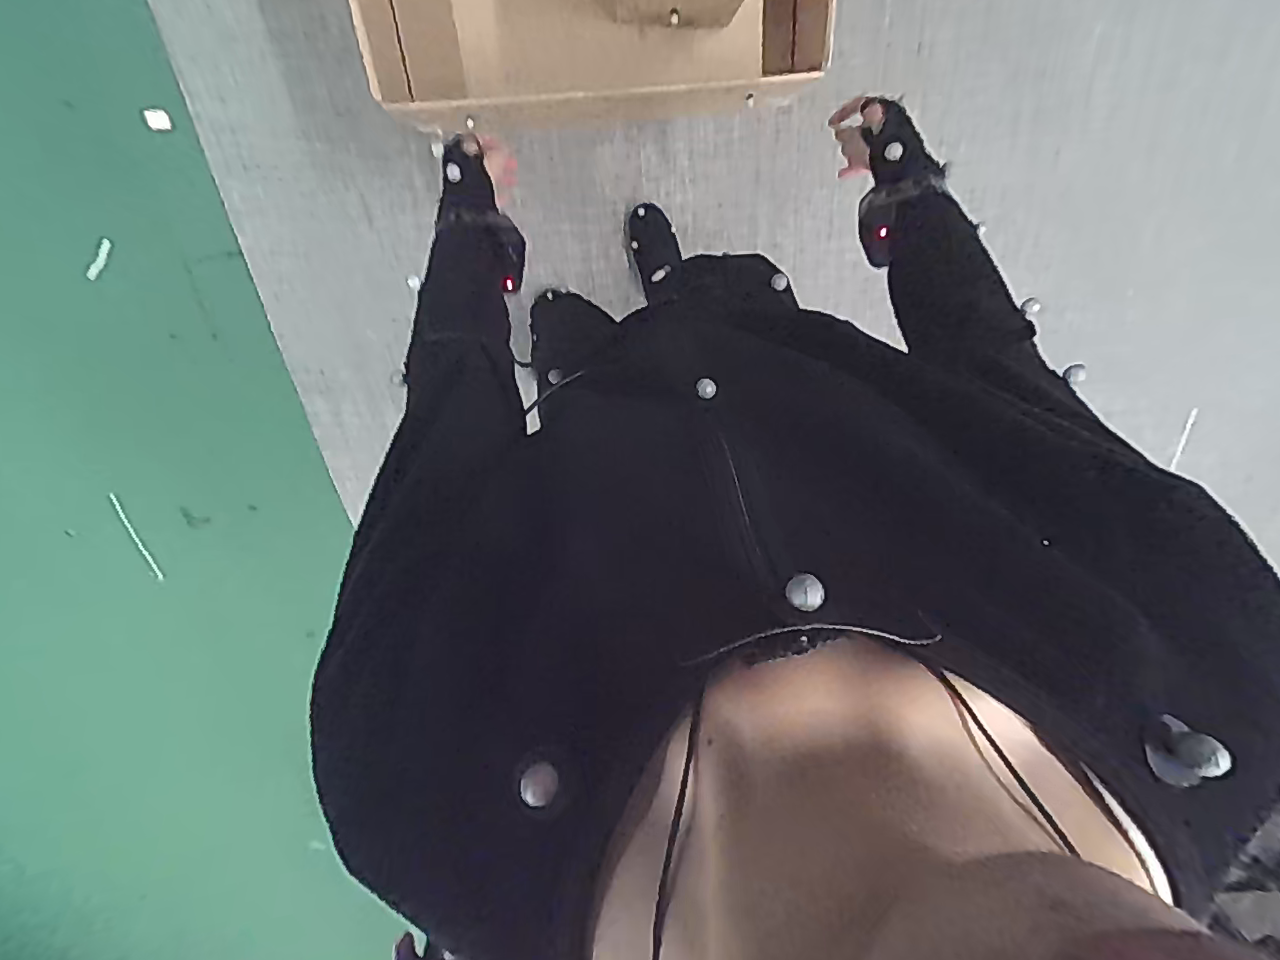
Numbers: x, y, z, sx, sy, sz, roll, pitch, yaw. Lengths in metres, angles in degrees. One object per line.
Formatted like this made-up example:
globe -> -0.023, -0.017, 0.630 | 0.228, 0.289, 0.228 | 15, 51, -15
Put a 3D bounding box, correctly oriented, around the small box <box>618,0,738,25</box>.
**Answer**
small box -> 0.054, -0.709, 0.687 | 0.168, 0.176, 0.179 | 0, 117, -2
